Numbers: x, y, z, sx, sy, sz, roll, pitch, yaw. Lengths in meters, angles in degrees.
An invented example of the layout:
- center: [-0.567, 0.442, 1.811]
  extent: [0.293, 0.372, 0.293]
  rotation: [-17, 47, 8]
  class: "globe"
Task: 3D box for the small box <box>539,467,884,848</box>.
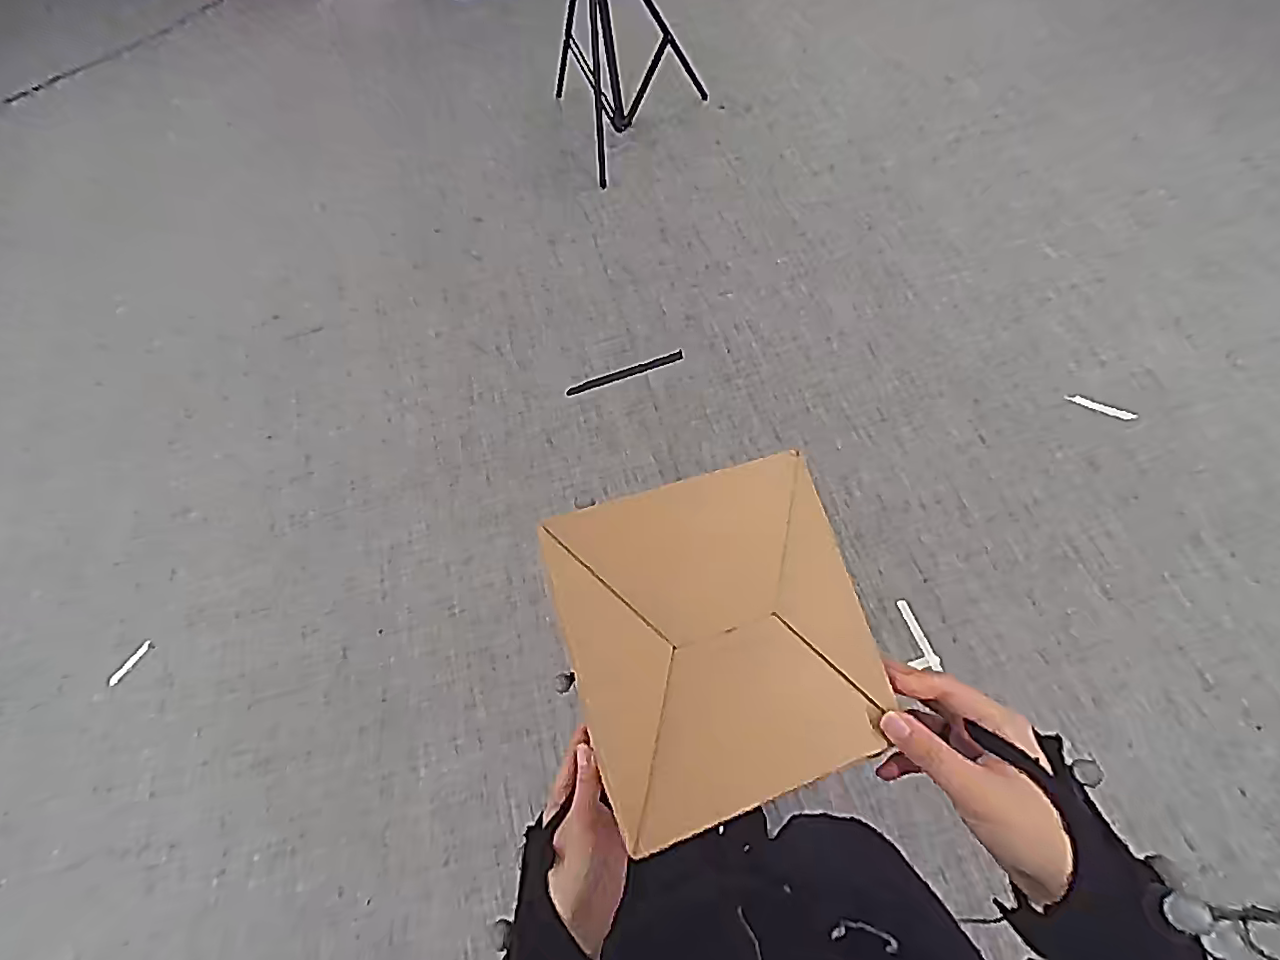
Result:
- center: [0.033, 0.105, 0.376]
  extent: [0.168, 0.176, 0.179]
  rotation: [-15, 78, -13]
  class: "small box"
